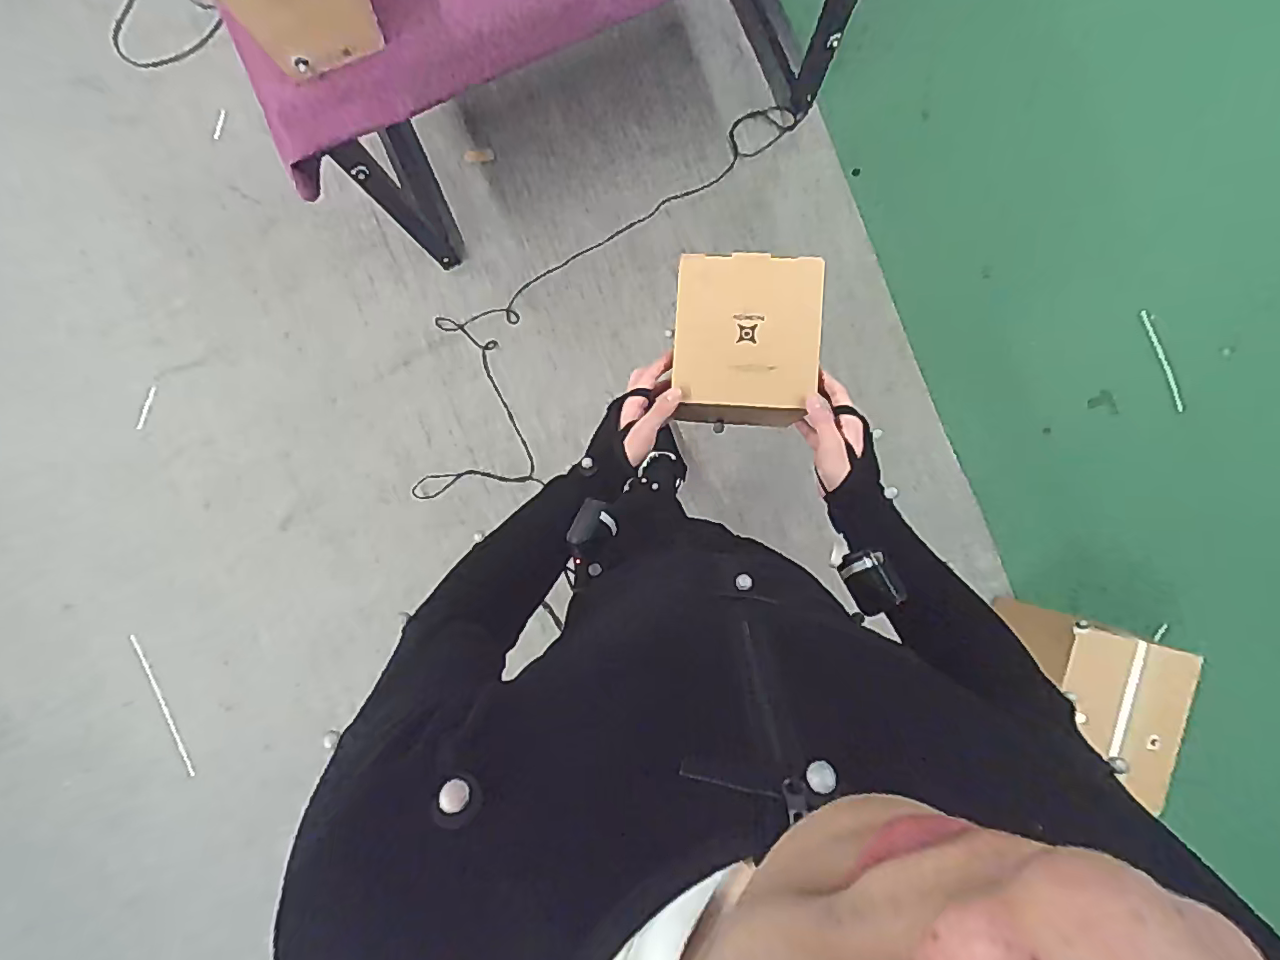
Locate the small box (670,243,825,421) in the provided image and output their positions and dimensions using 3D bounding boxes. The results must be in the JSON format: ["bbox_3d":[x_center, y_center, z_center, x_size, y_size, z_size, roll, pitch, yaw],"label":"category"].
[{"bbox_3d":[0.127,-0.176,0.689,0.168,0.176,0.179,4,90,5],"label":"small box"}]

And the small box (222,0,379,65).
[{"bbox_3d":[-0.517,-0.759,0.791,0.168,0.176,0.179,-20,89,1],"label":"small box"}]

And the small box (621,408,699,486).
[{"bbox_3d":[0.056,-0.093,1.549,0.179,0.176,0.168,26,94,9],"label":"small box"}]
